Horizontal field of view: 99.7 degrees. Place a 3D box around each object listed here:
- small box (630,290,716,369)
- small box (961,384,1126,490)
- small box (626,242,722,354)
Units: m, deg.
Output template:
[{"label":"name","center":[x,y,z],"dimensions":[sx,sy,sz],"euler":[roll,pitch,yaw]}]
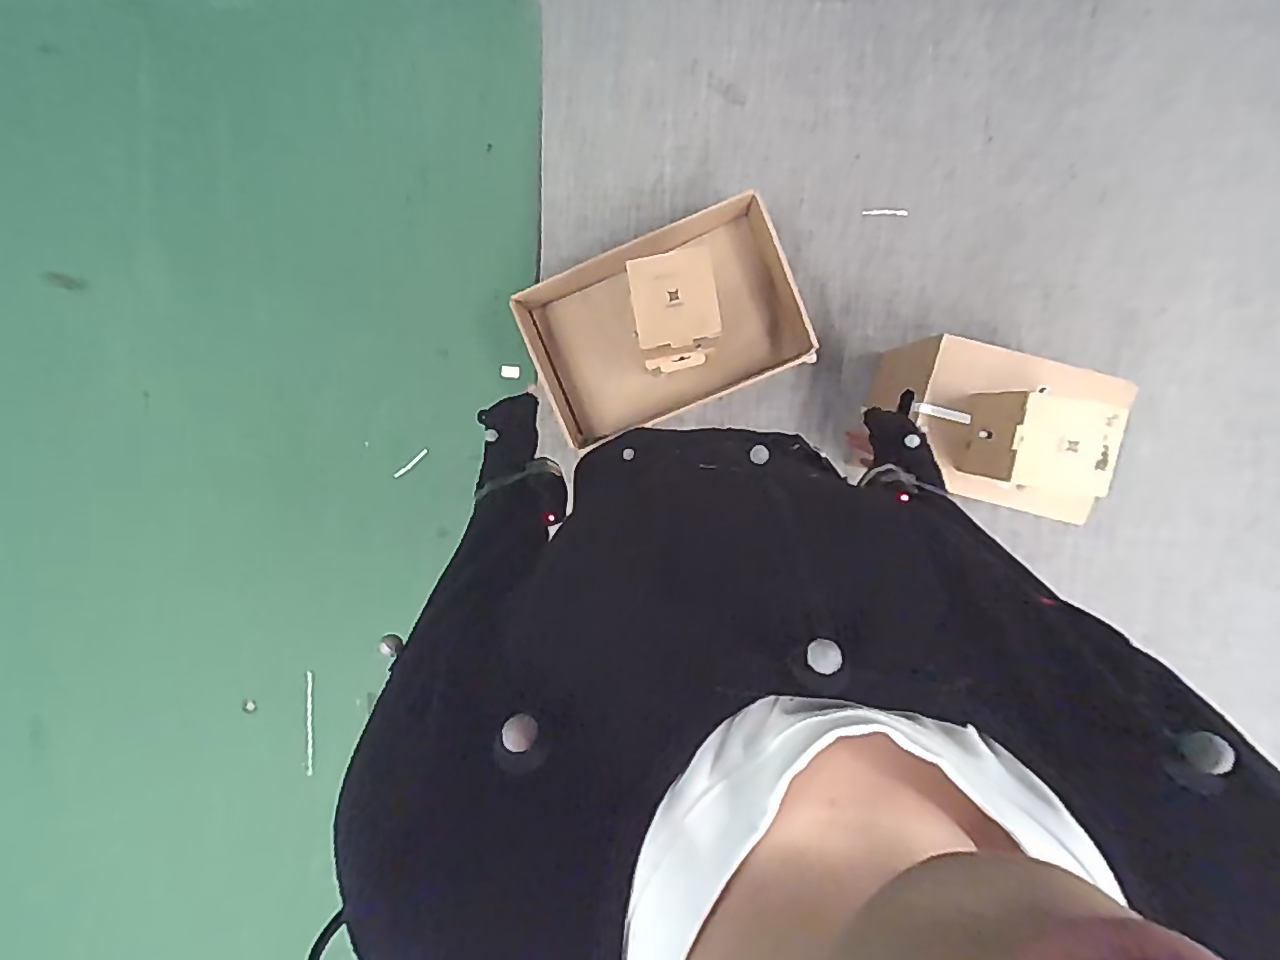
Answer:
[{"label":"small box","center":[0.081,-0.371,1.291],"dimensions":[0.168,0.176,0.179],"euler":[-14,94,6]},{"label":"small box","center":[0.751,-0.084,1.029],"dimensions":[0.179,0.176,0.168],"euler":[9,98,2]},{"label":"small box","center":[0.072,-0.367,1.130],"dimensions":[0.168,0.176,0.179],"euler":[-10,94,4]}]
